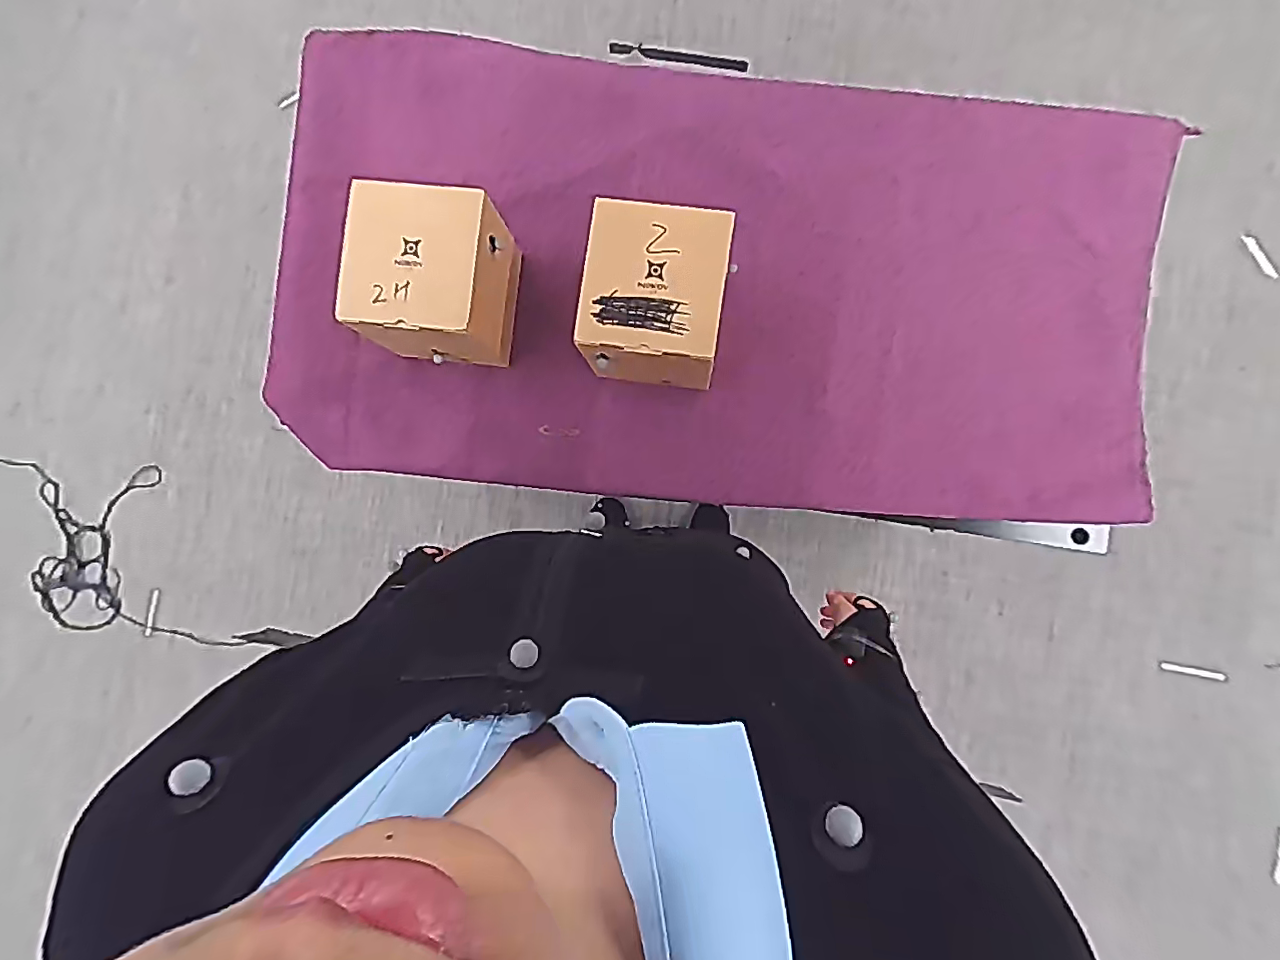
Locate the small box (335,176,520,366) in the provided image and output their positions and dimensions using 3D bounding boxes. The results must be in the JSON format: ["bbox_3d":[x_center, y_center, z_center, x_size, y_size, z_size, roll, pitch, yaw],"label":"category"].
[{"bbox_3d":[-0.265,-0.264,0.715,0.168,0.176,0.179,6,89,3],"label":"small box"}]
